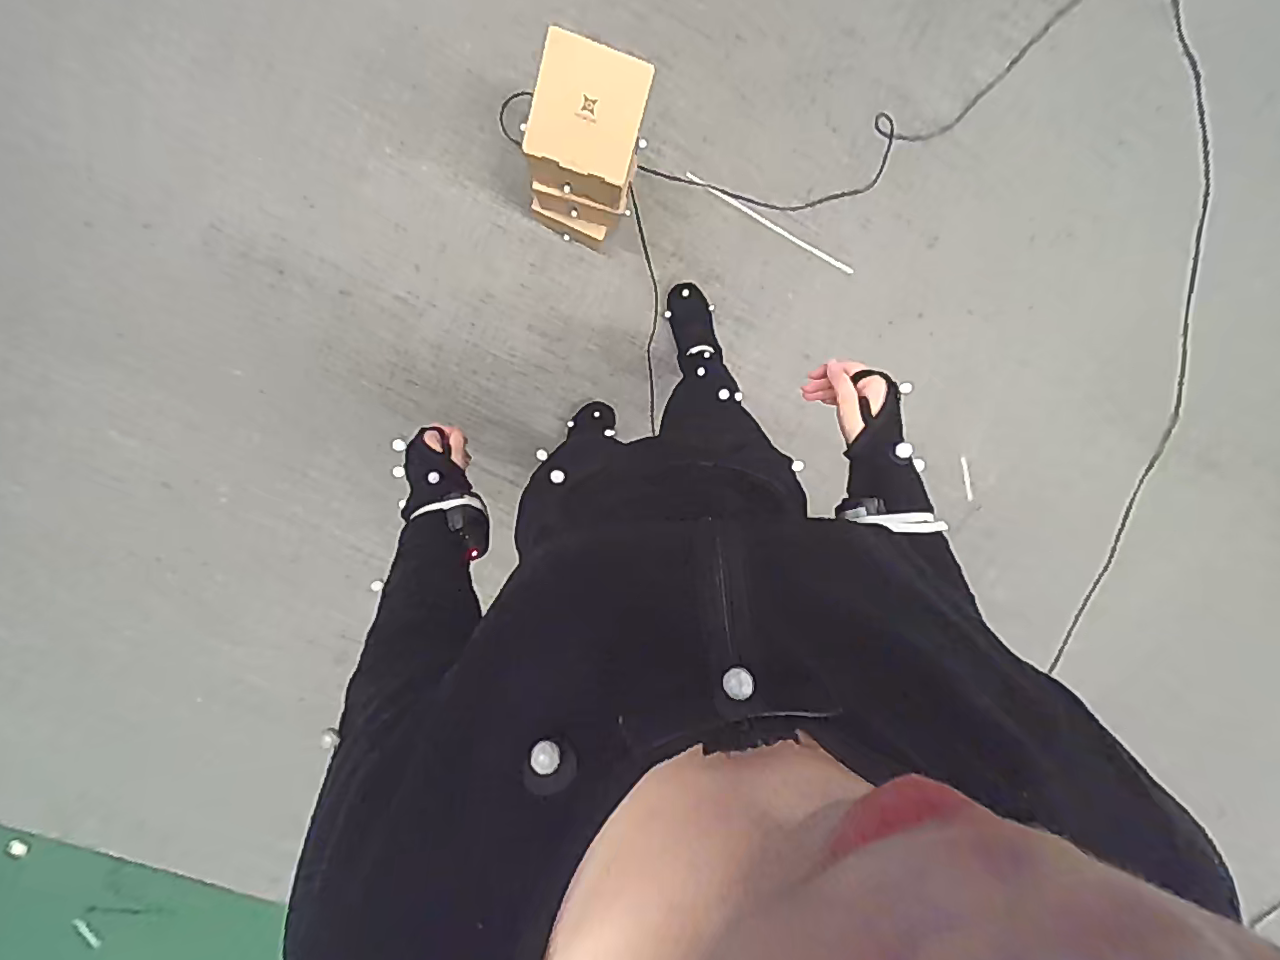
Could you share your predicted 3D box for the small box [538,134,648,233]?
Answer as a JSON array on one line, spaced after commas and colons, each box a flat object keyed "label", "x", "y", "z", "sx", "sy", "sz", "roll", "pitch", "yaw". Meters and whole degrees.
[{"label": "small box", "x": -0.091, "y": -0.607, "z": 1.077, "sx": 0.179, "sy": 0.176, "sz": 0.168, "roll": 13, "pitch": 103, "yaw": -6}]

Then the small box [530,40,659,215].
[{"label": "small box", "x": -0.077, "y": -0.580, "z": 0.917, "sx": 0.168, "sy": 0.176, "sz": 0.179, "roll": 16, "pitch": 104, "yaw": -7}]
